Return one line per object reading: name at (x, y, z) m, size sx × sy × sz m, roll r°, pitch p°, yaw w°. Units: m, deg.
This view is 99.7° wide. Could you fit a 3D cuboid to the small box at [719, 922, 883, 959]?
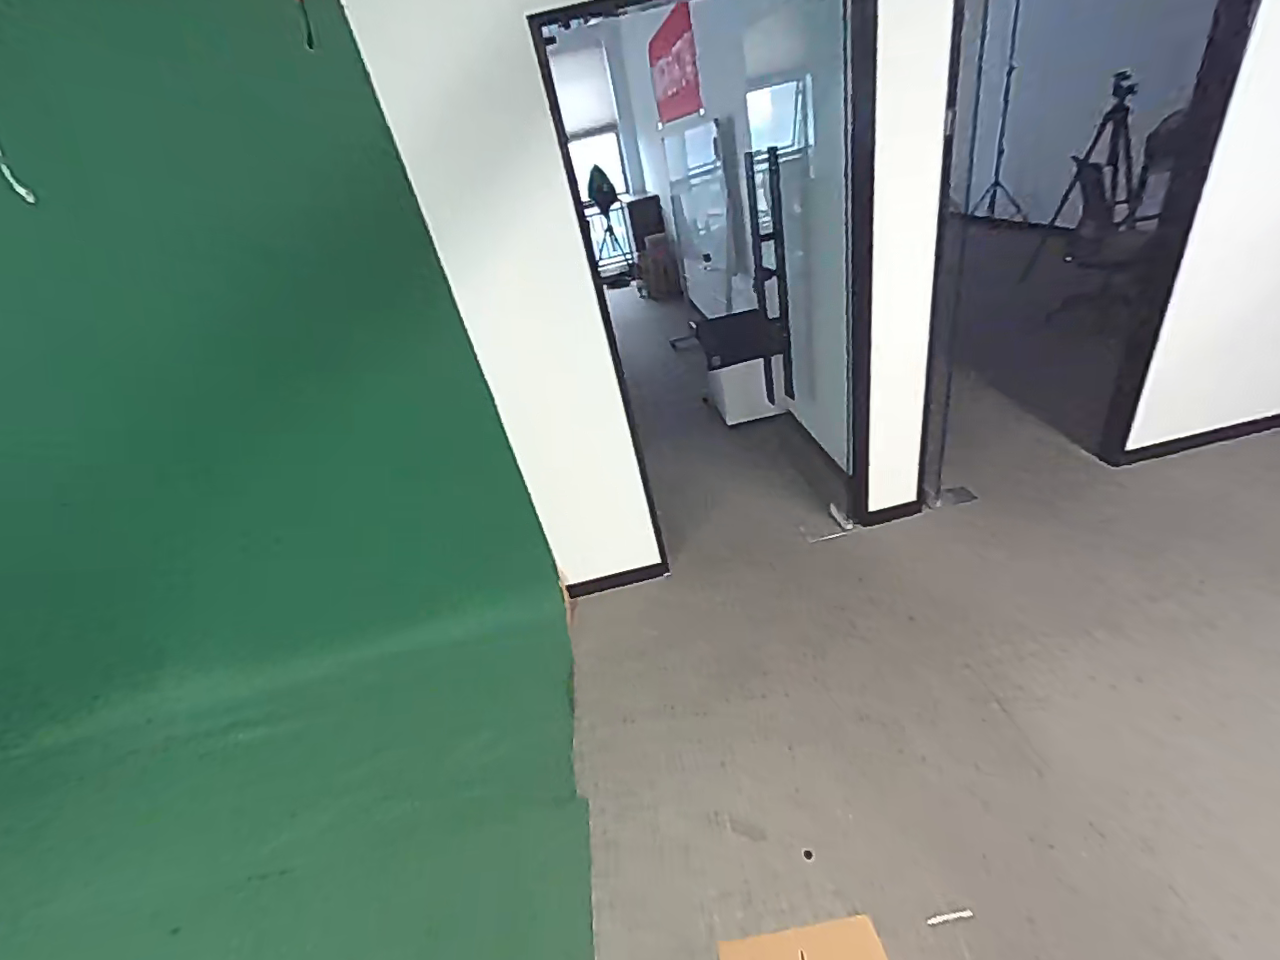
small box at (0.184, 0.596, 0.535) m, size 0.168 × 0.176 × 0.179 m, roll -10°, pitch 26°, yaw -3°
